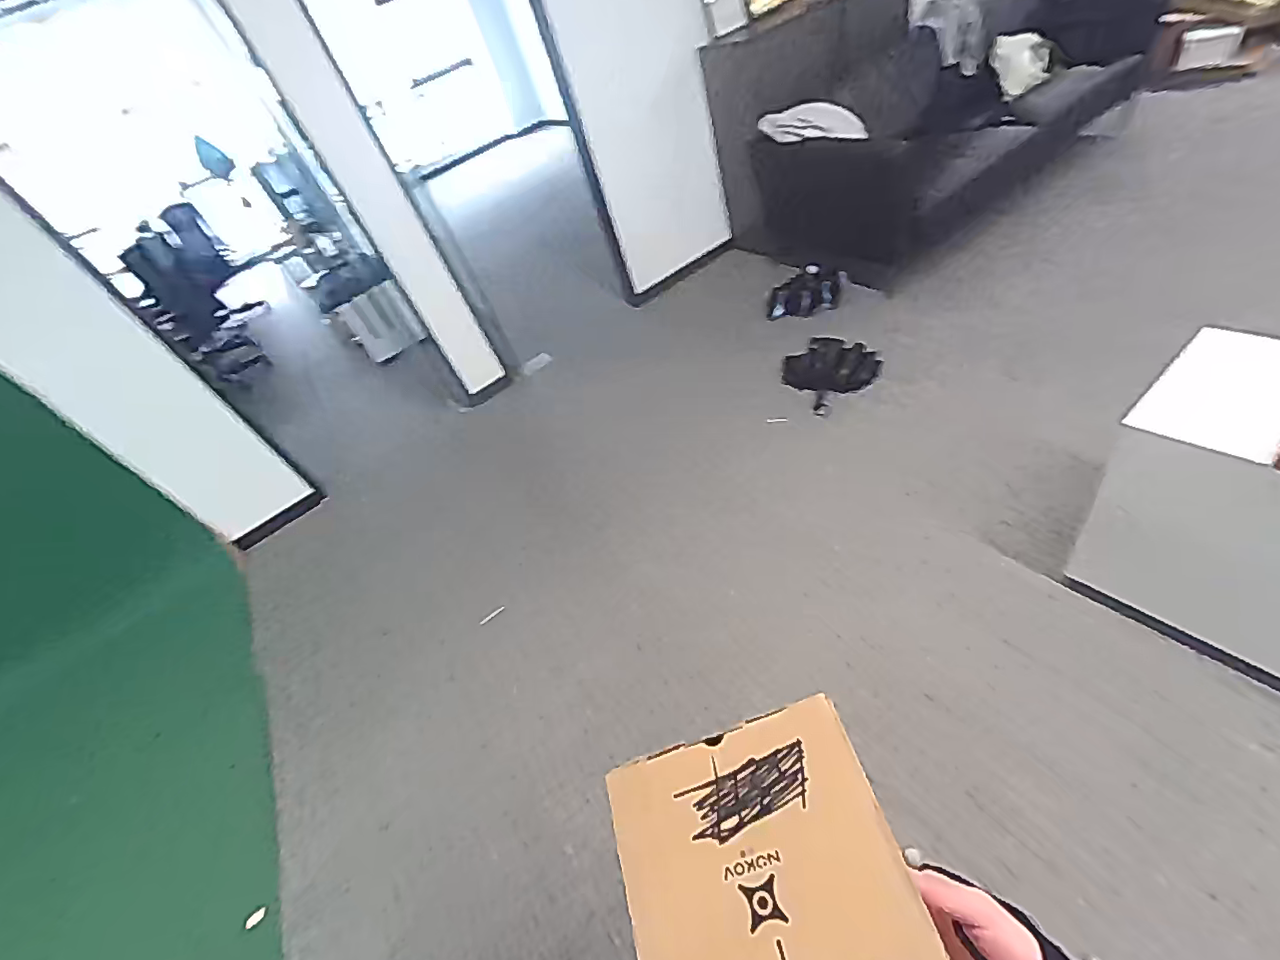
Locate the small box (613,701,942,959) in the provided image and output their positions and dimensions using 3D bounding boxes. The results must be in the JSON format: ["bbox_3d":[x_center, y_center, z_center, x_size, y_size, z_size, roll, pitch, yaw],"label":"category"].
[{"bbox_3d":[0.097,0.287,0.381,0.168,0.176,0.179,-22,49,7],"label":"small box"}]

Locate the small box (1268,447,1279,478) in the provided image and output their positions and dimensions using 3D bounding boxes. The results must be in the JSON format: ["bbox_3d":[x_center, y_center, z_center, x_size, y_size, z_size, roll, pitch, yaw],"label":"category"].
[{"bbox_3d":[1.231,-0.074,0.910,0.179,0.176,0.168,-37,45,-20],"label":"small box"}]
